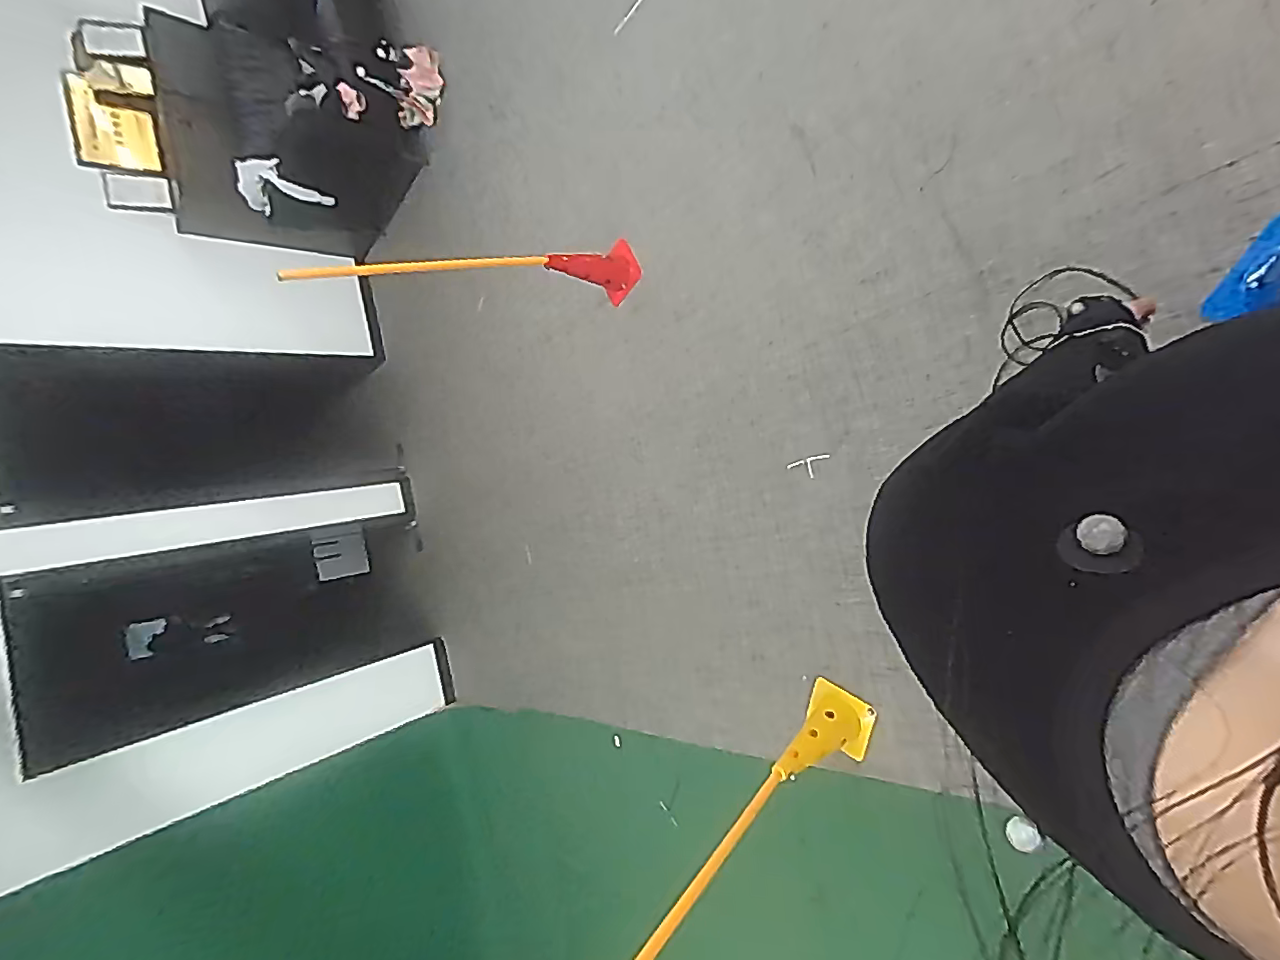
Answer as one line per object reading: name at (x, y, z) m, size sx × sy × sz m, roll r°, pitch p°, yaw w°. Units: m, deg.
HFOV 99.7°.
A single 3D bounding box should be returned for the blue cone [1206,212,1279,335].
blue cone at (1.034, -0.344, 0.830) m, size 0.192 × 0.380 × 0.193 m, roll 41°, pitch 122°, yaw 35°
